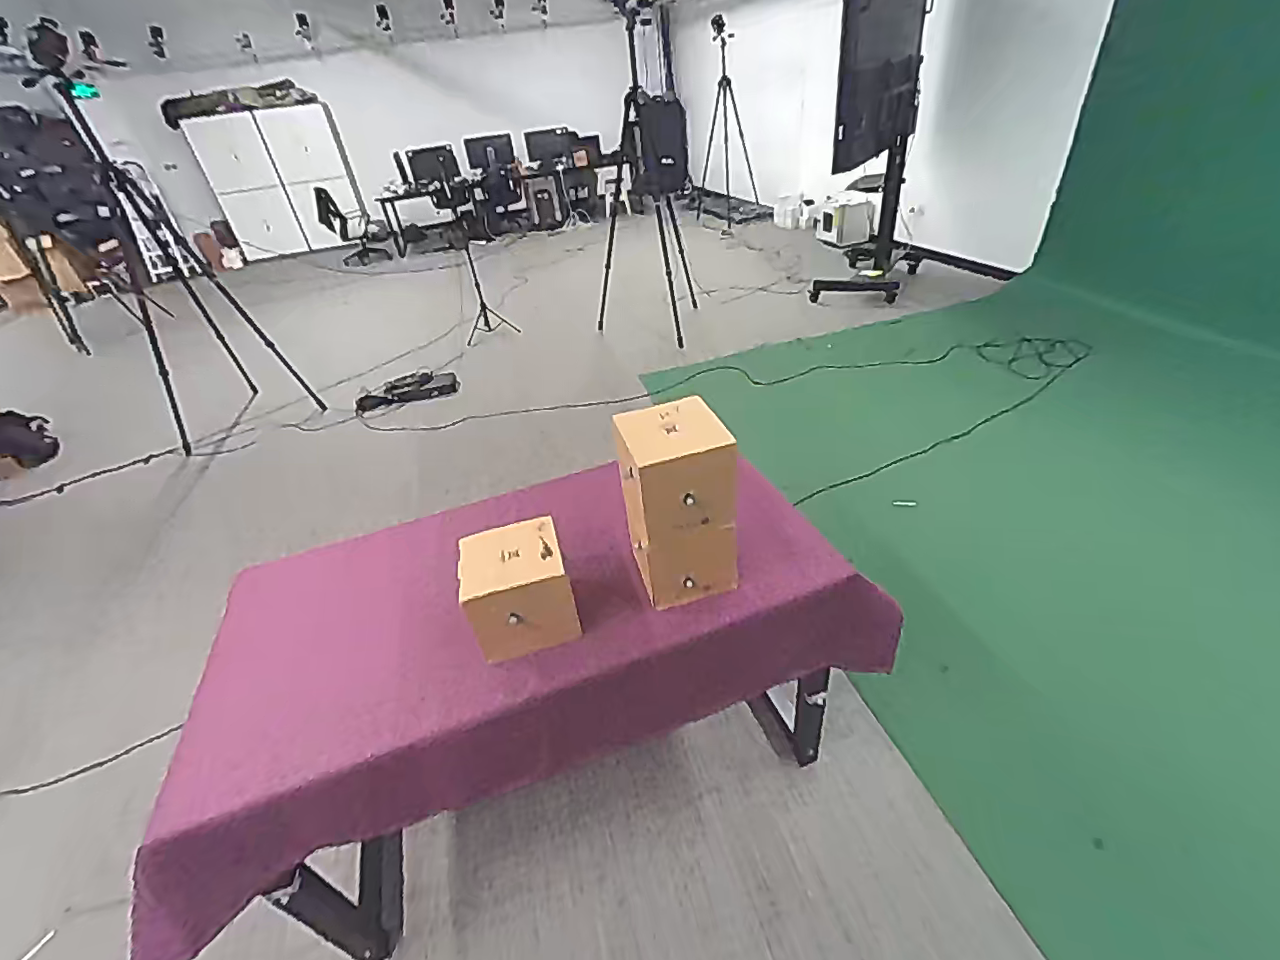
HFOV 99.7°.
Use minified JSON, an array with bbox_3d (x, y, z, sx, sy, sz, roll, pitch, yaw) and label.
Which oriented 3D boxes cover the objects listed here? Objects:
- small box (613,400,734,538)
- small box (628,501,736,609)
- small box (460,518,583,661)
[{"bbox_3d":[0.060,-0.016,0.955,0.168,0.176,0.179,-14,36,-9],"label":"small box"},{"bbox_3d":[0.078,0.117,1.051,0.168,0.176,0.179,-14,36,-8],"label":"small box"},{"bbox_3d":[-0.215,0.202,0.989,0.179,0.176,0.168,-15,36,-8],"label":"small box"}]
